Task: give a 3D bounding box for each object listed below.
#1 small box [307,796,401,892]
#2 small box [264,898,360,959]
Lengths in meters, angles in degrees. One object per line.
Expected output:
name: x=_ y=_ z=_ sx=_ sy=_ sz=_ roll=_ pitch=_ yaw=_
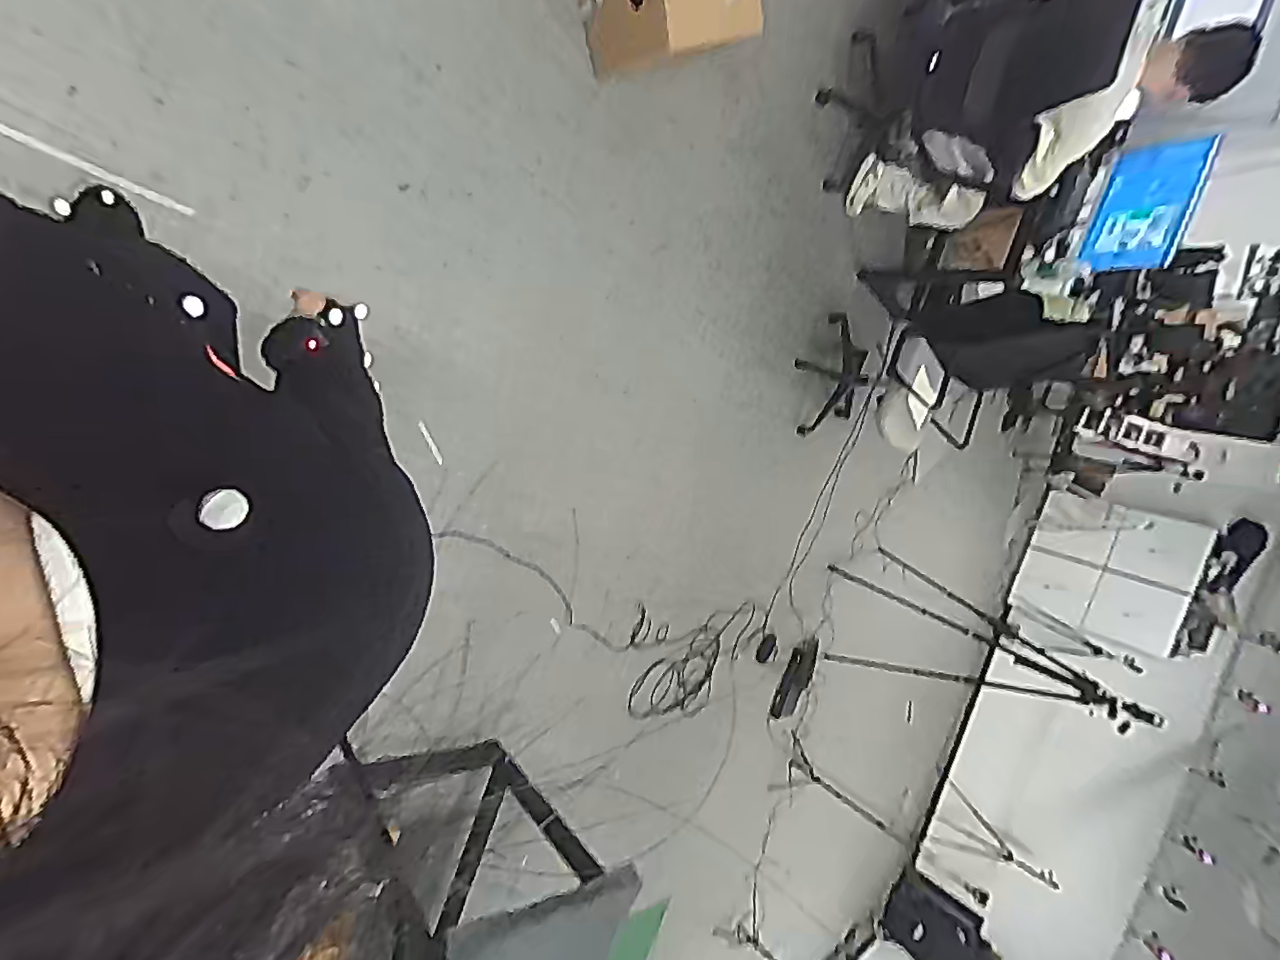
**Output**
small box: x=-0.861 y=1.076 z=1.617 sx=0.168 sy=0.176 sz=0.179 roll=35 pitch=79 yaw=-45
small box: x=-0.986 y=1.399 z=1.614 sx=0.179 sy=0.176 sz=0.168 roll=-57 pitch=136 yaw=-14
